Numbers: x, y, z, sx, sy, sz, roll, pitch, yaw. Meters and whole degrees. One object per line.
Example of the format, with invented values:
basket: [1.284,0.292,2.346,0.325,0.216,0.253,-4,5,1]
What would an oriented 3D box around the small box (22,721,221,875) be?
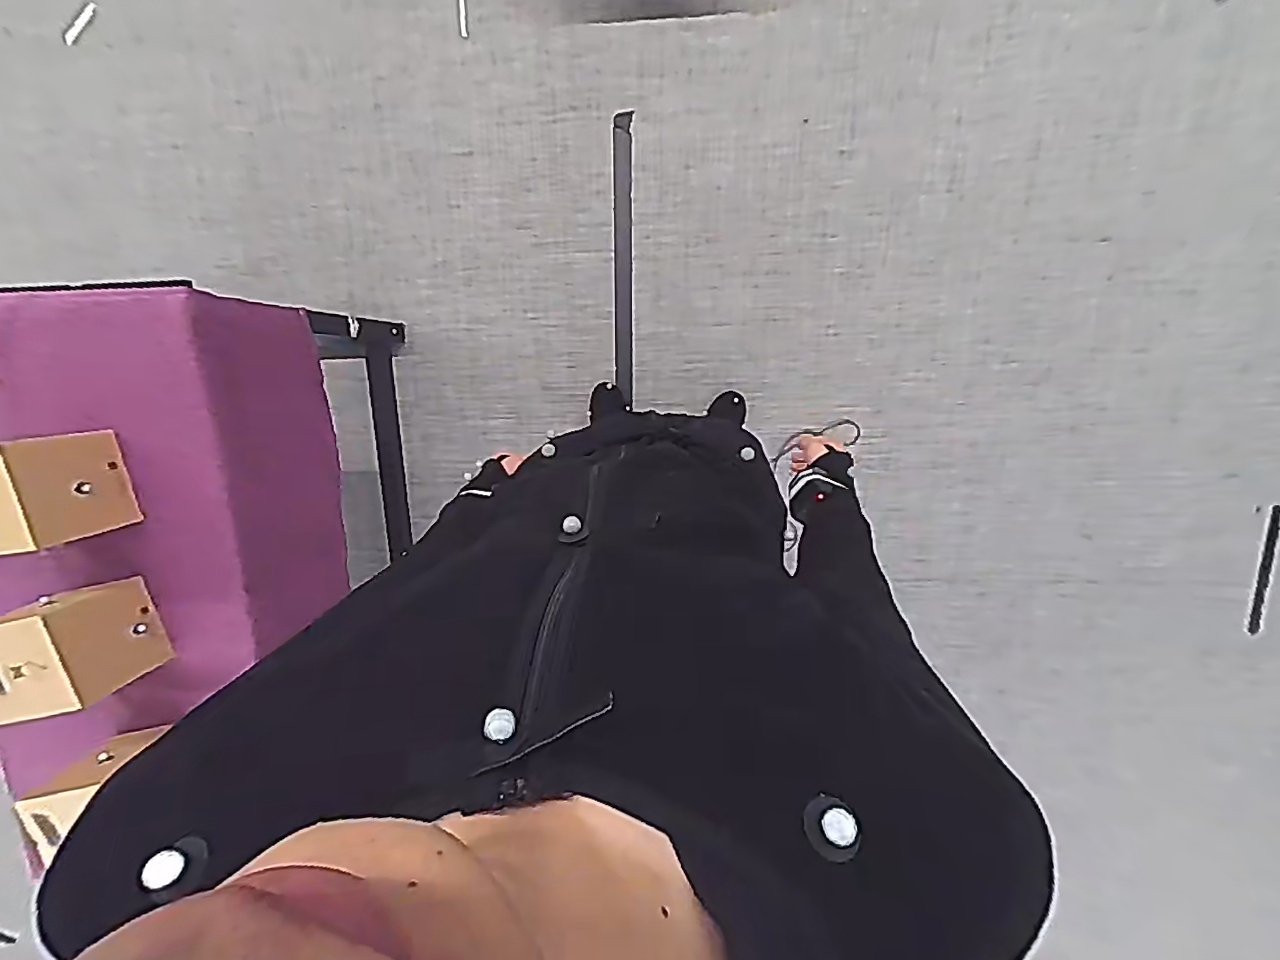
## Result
small box: [-0.939,0.577,0.996,0.179,0.176,0.168,-14,101,6]

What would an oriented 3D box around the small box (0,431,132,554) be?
small box: [-0.987,0.017,0.879,0.179,0.176,0.168,-6,101,6]
